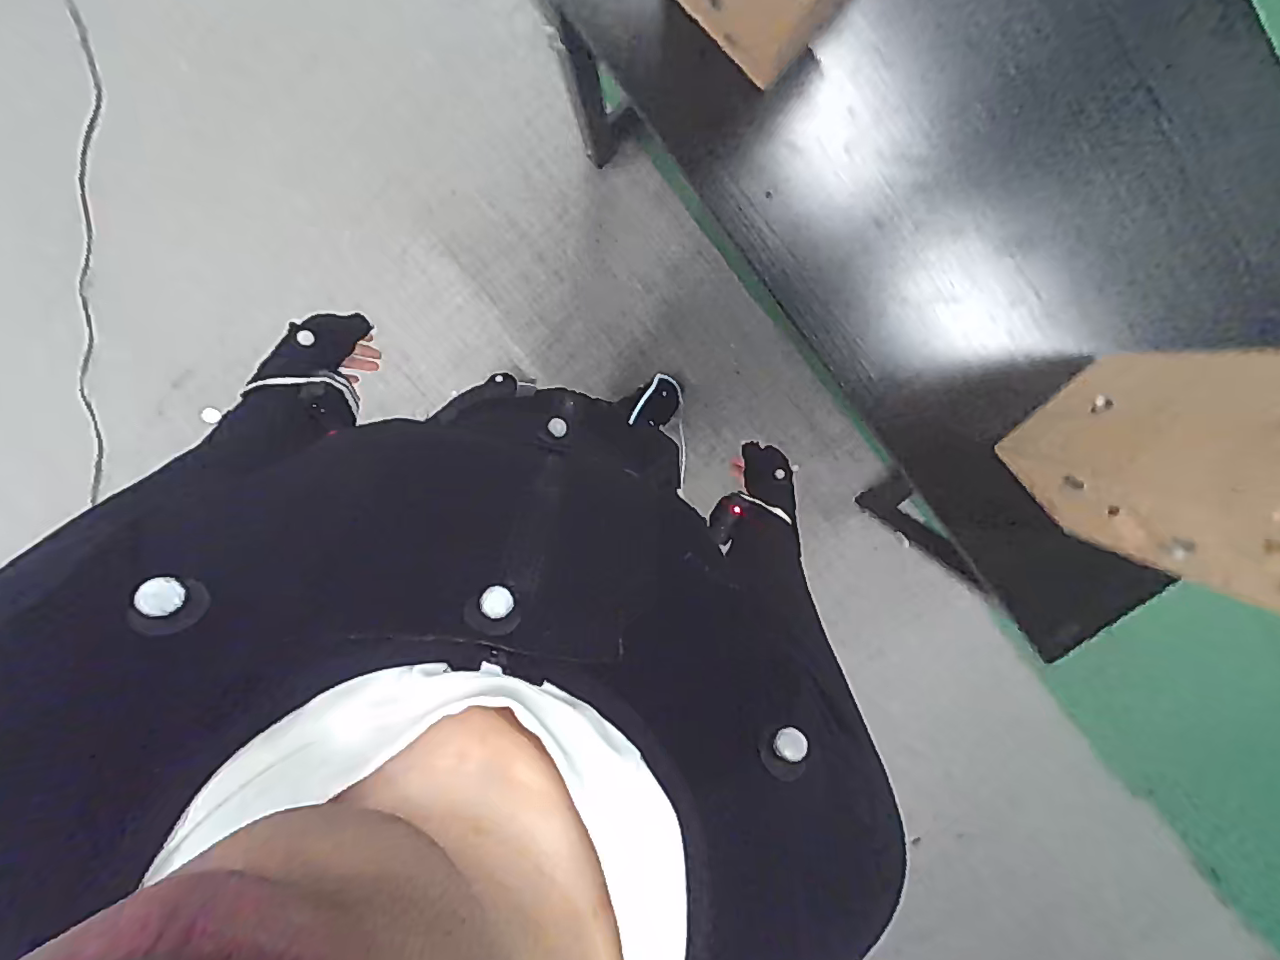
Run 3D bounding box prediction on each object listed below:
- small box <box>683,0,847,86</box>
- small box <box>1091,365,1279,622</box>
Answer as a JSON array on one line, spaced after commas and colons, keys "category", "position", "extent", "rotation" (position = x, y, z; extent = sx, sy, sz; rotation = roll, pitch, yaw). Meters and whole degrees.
[{"category": "small box", "position": [0.149, -0.554, 0.534], "extent": [0.168, 0.176, 0.179], "rotation": [42, 101, -9]}, {"category": "small box", "position": [0.584, 0.009, 0.491], "extent": [0.168, 0.176, 0.179], "rotation": [43, 99, -8]}]
